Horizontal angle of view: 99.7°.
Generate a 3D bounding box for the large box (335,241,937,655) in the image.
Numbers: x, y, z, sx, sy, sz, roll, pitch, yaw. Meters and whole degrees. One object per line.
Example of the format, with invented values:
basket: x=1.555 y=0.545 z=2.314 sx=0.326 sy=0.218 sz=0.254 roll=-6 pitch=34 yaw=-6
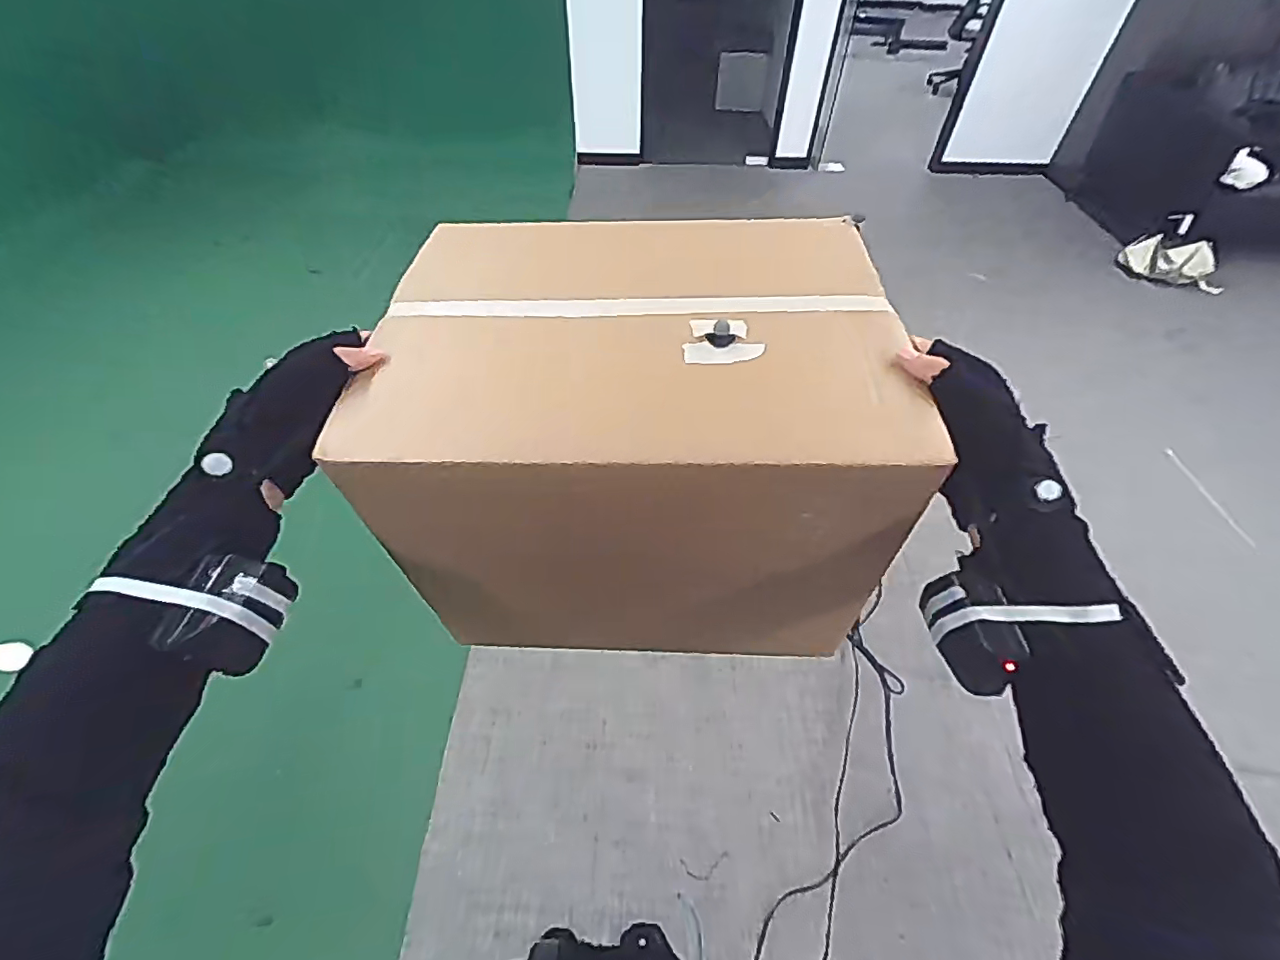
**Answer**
large box: x=0.000 y=-0.026 z=0.559 sx=0.408 sy=0.320 sz=0.320 roll=1 pitch=51 yaw=2
